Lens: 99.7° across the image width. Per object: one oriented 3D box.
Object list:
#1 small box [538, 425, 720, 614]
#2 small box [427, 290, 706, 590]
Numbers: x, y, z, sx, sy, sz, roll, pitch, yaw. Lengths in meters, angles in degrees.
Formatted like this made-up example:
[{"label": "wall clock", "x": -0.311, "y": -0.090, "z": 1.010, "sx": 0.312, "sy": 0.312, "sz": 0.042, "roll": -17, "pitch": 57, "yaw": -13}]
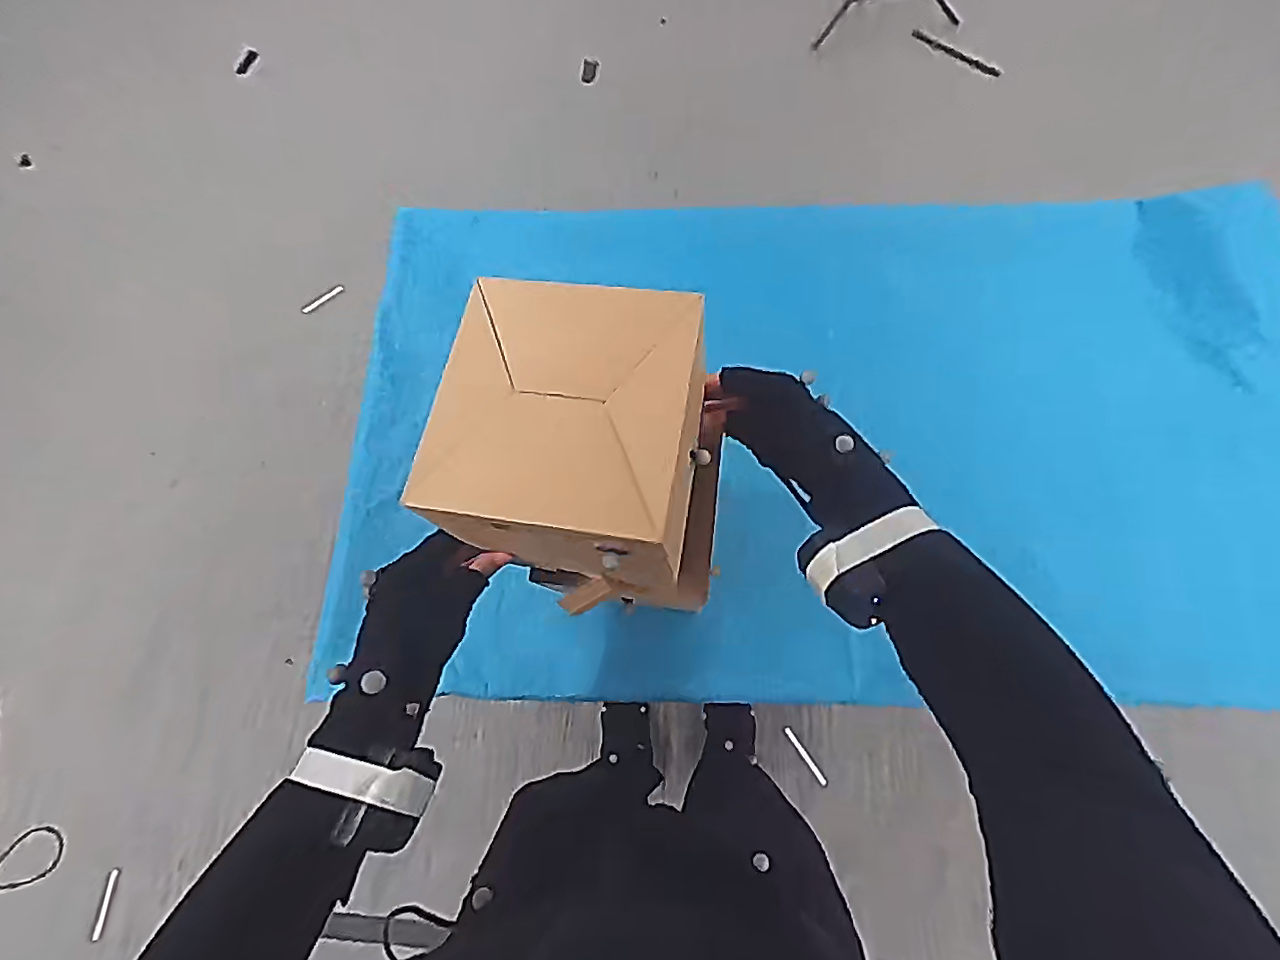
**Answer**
[{"label": "small box", "x": -0.005, "y": 0.045, "z": 0.593, "sx": 0.168, "sy": 0.176, "sz": 0.179, "roll": 6, "pitch": 74, "yaw": 4}, {"label": "small box", "x": -0.040, "y": -0.023, "z": 0.429, "sx": 0.168, "sy": 0.176, "sz": 0.179, "roll": 8, "pitch": 71, "yaw": 9}]
